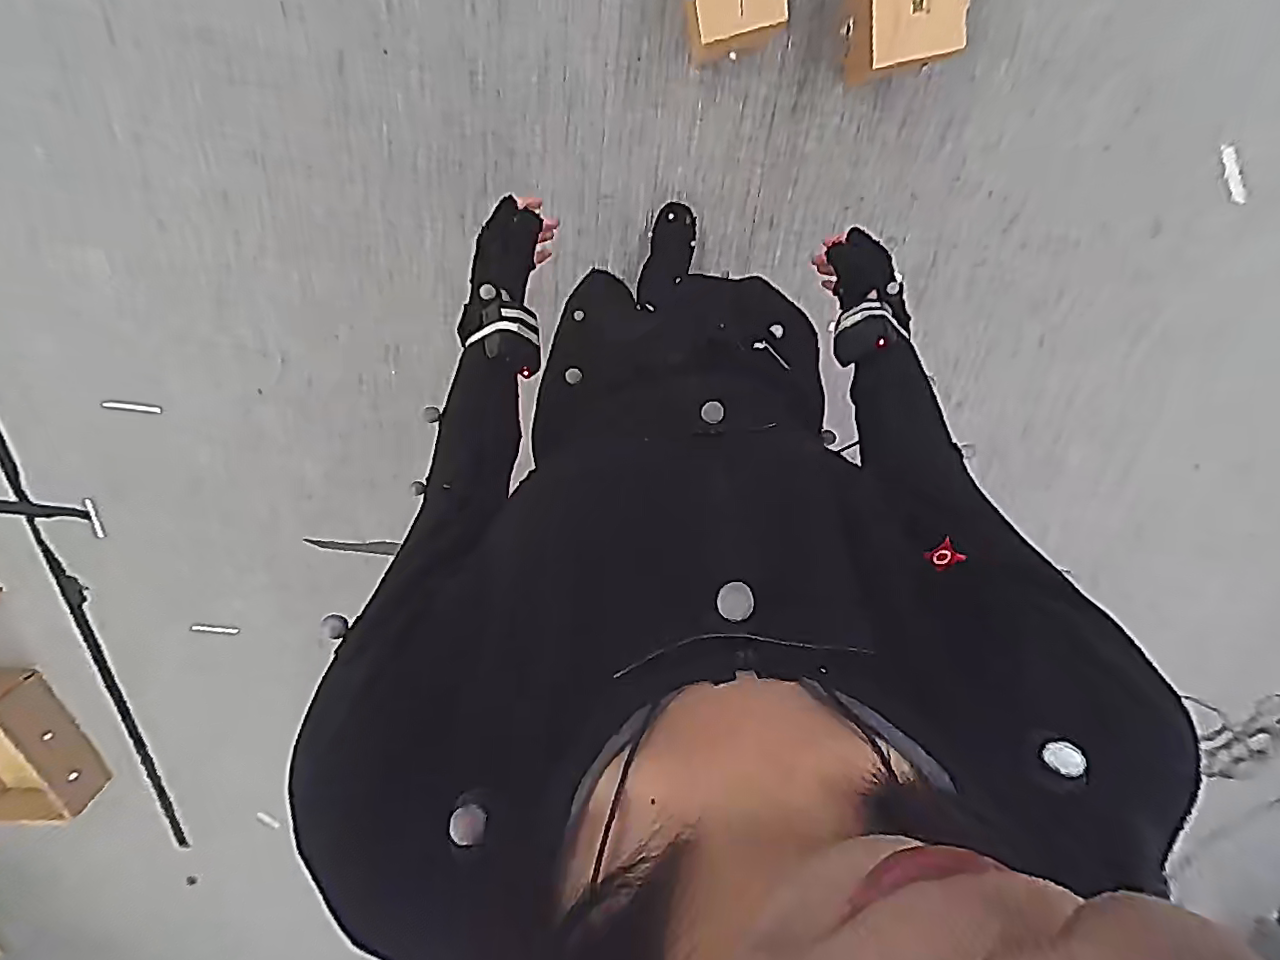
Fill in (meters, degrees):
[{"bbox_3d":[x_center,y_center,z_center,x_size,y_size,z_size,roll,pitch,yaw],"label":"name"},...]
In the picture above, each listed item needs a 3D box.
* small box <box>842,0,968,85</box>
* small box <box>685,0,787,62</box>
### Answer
[{"bbox_3d":[0.513,-0.907,1.061,0.179,0.176,0.168,-10,115,6],"label":"small box"},{"bbox_3d":[0.175,-0.947,1.040,0.168,0.176,0.179,-11,116,6],"label":"small box"}]
